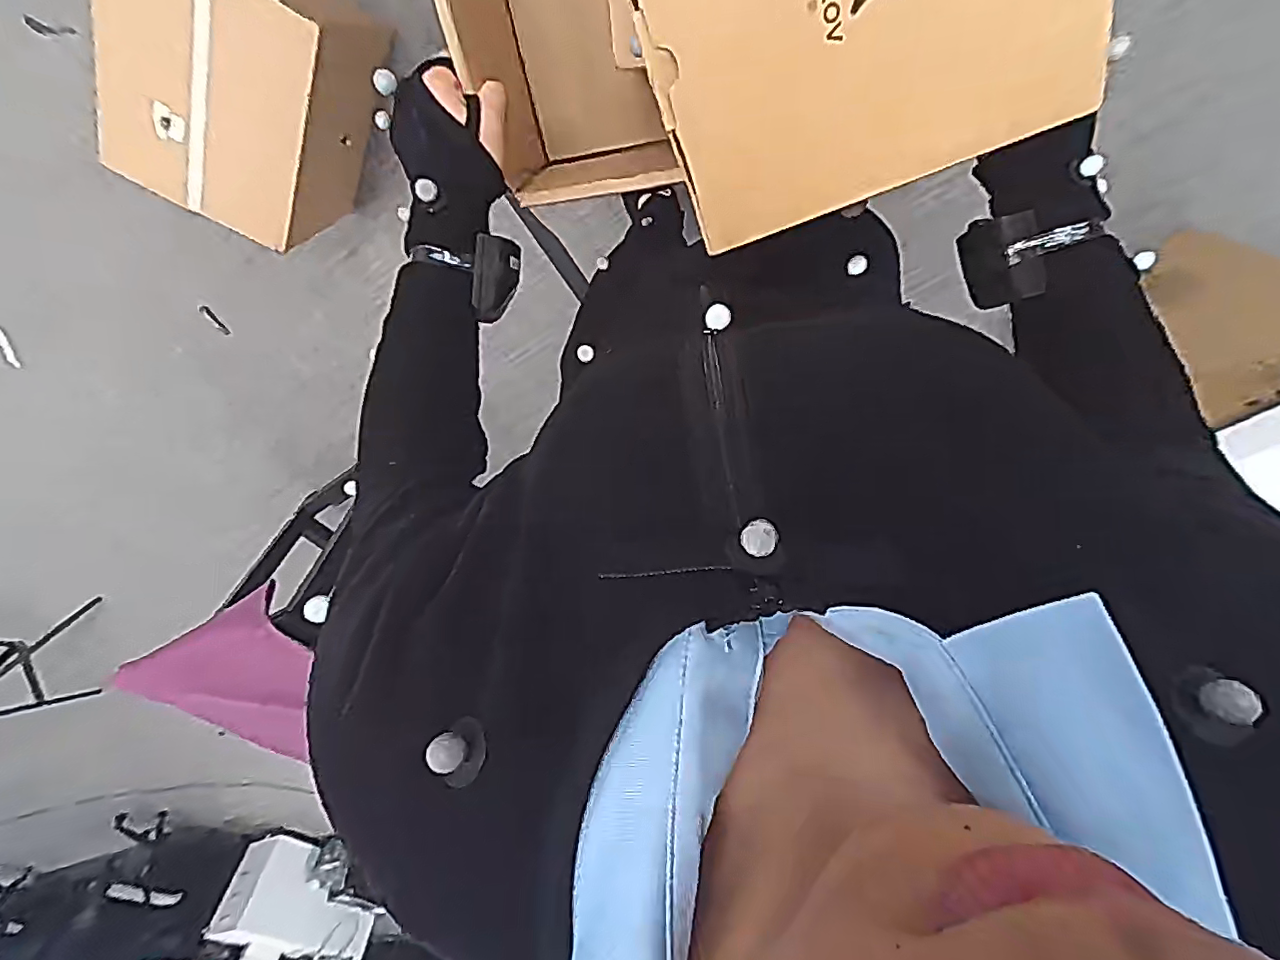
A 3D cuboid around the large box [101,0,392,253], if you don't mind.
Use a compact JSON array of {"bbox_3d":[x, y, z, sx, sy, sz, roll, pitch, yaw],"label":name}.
[{"bbox_3d":[-0.709,-0.728,1.011,0.320,0.320,0.408,25,127,-17],"label":"large box"}]
